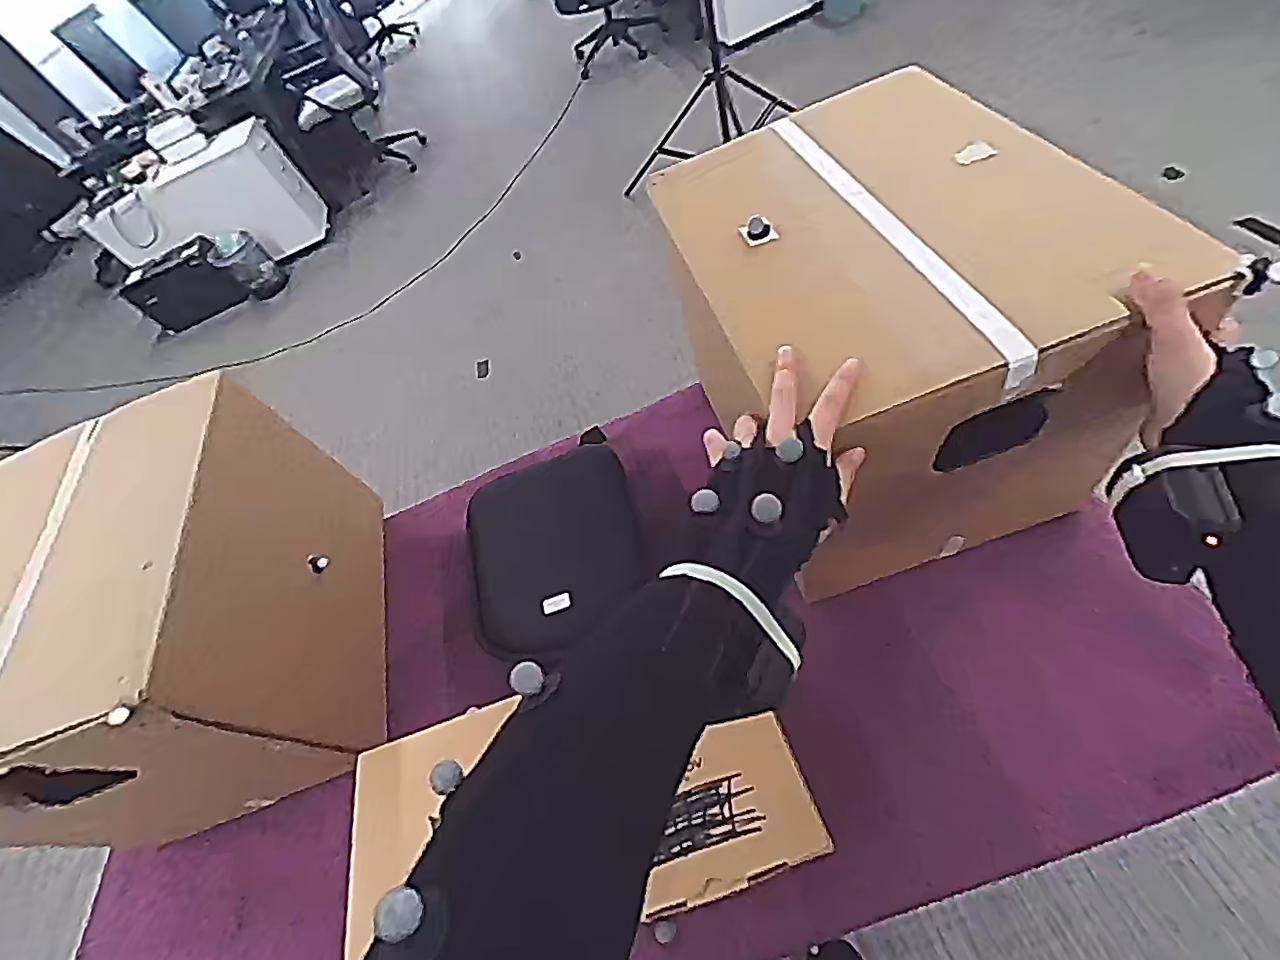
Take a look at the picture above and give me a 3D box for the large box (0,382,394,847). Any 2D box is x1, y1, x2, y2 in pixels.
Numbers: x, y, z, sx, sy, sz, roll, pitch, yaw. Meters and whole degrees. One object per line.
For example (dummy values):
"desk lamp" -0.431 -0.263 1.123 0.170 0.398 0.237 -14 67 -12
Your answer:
"large box" -0.536 0.164 0.659 0.320 0.320 0.408 -23 55 2
